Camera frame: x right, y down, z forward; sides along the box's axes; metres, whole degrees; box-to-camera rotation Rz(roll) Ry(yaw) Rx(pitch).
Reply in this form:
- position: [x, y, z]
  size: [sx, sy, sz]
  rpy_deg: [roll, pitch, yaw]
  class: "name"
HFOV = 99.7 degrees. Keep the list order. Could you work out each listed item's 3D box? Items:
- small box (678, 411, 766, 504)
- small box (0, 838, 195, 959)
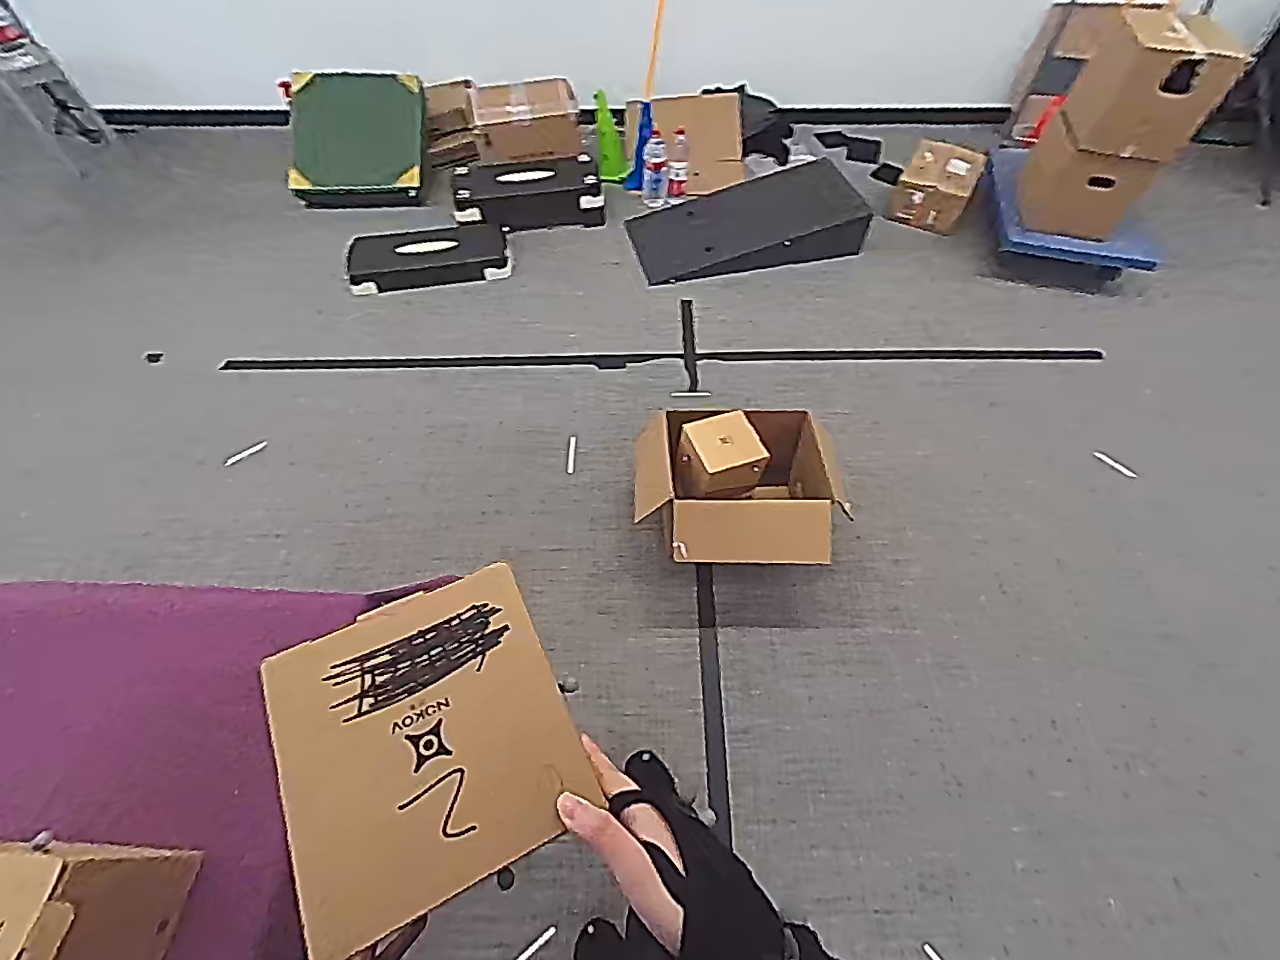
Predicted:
- position: [0.213, -0.056, 1.471]
  size: [0.179, 0.176, 0.168]
  rpy_deg: [-16, 60, -15]
  class: "small box"
- position: [-0.568, 0.428, 0.487]
  size: [0.179, 0.176, 0.168]
  rpy_deg: [2, 56, 3]
  class: "small box"
